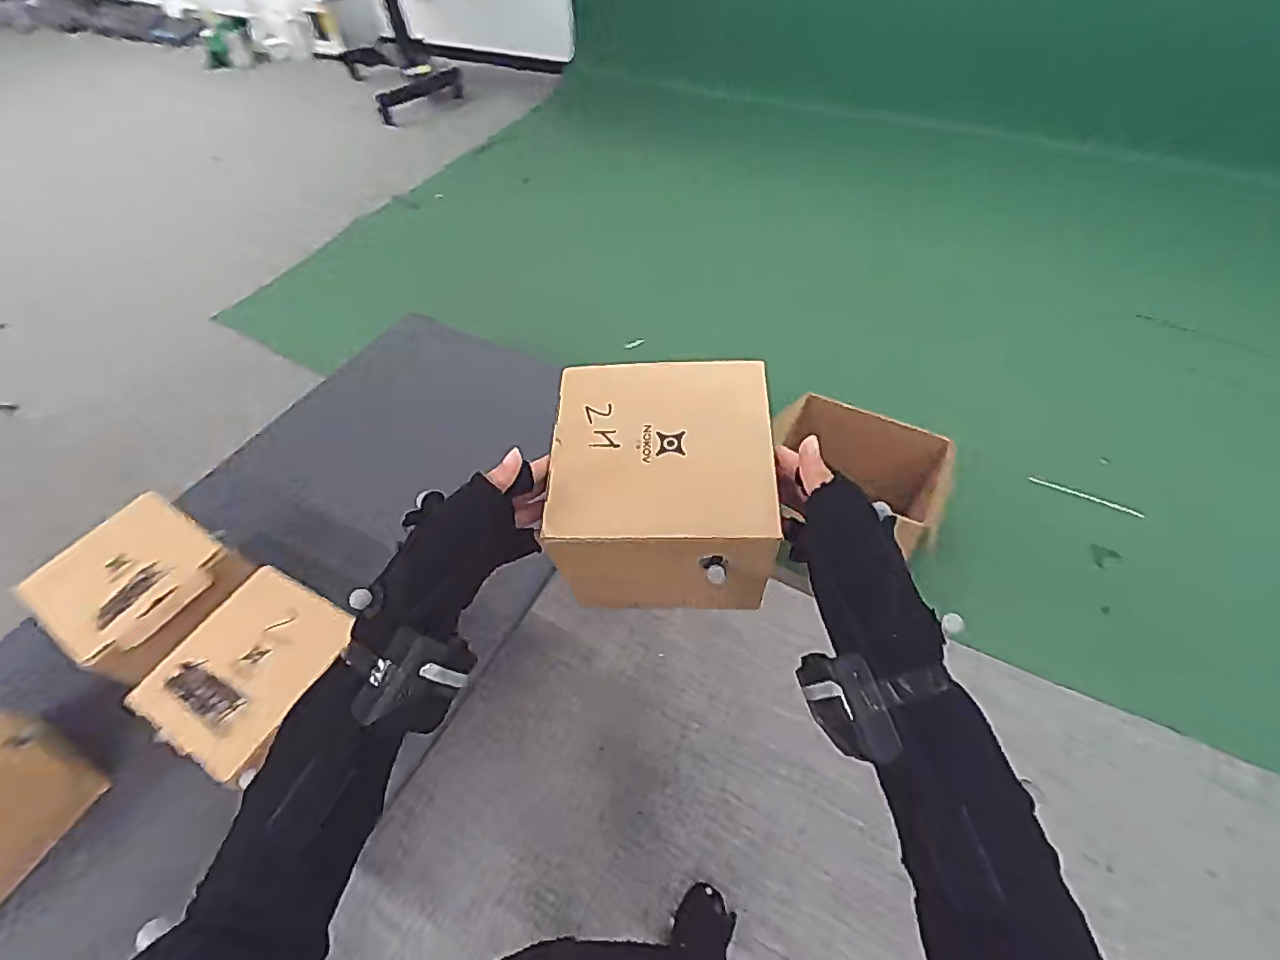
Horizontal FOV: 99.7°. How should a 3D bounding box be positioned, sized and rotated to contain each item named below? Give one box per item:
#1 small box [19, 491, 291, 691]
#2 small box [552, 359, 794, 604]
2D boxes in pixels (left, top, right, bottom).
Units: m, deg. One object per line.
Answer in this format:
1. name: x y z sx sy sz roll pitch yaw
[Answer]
1. small box: -0.611 0.152 0.707 0.179 0.176 0.168 26 59 21
2. small box: 0.033 0.009 0.494 0.179 0.176 0.168 0 60 6
